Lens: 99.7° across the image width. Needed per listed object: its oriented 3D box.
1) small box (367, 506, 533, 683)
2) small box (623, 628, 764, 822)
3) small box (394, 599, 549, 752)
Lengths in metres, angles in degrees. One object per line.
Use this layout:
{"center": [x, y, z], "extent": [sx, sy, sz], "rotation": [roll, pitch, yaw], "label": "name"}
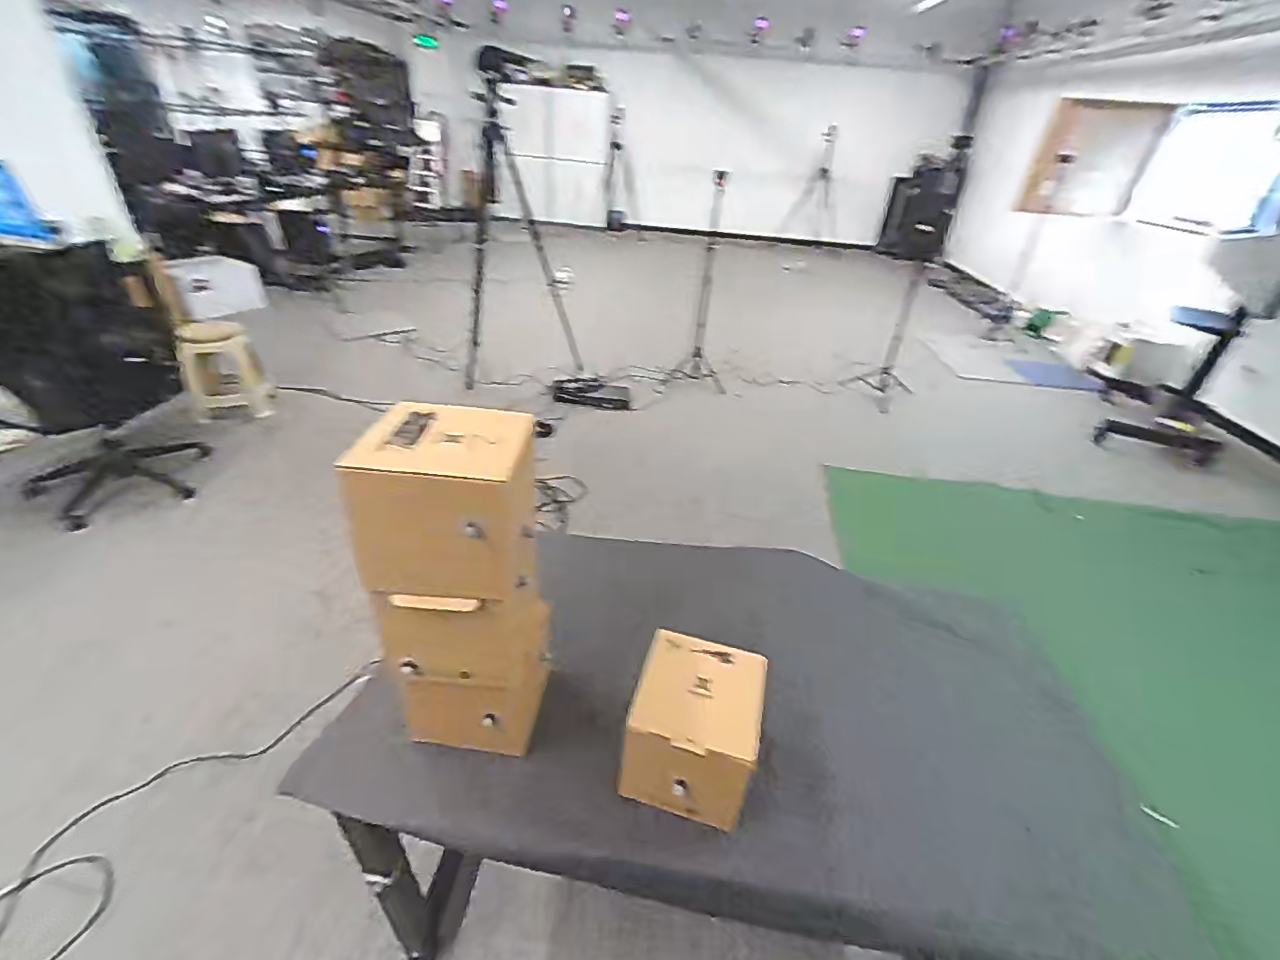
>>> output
{"center": [-0.245, 0.156, 0.750], "extent": [0.168, 0.176, 0.179], "rotation": [4, 31, -1], "label": "small box"}
{"center": [0.078, 0.352, 0.783], "extent": [0.168, 0.176, 0.179], "rotation": [11, 34, 12], "label": "small box"}
{"center": [-0.245, 0.295, 0.839], "extent": [0.179, 0.176, 0.168], "rotation": [5, 32, 4], "label": "small box"}
